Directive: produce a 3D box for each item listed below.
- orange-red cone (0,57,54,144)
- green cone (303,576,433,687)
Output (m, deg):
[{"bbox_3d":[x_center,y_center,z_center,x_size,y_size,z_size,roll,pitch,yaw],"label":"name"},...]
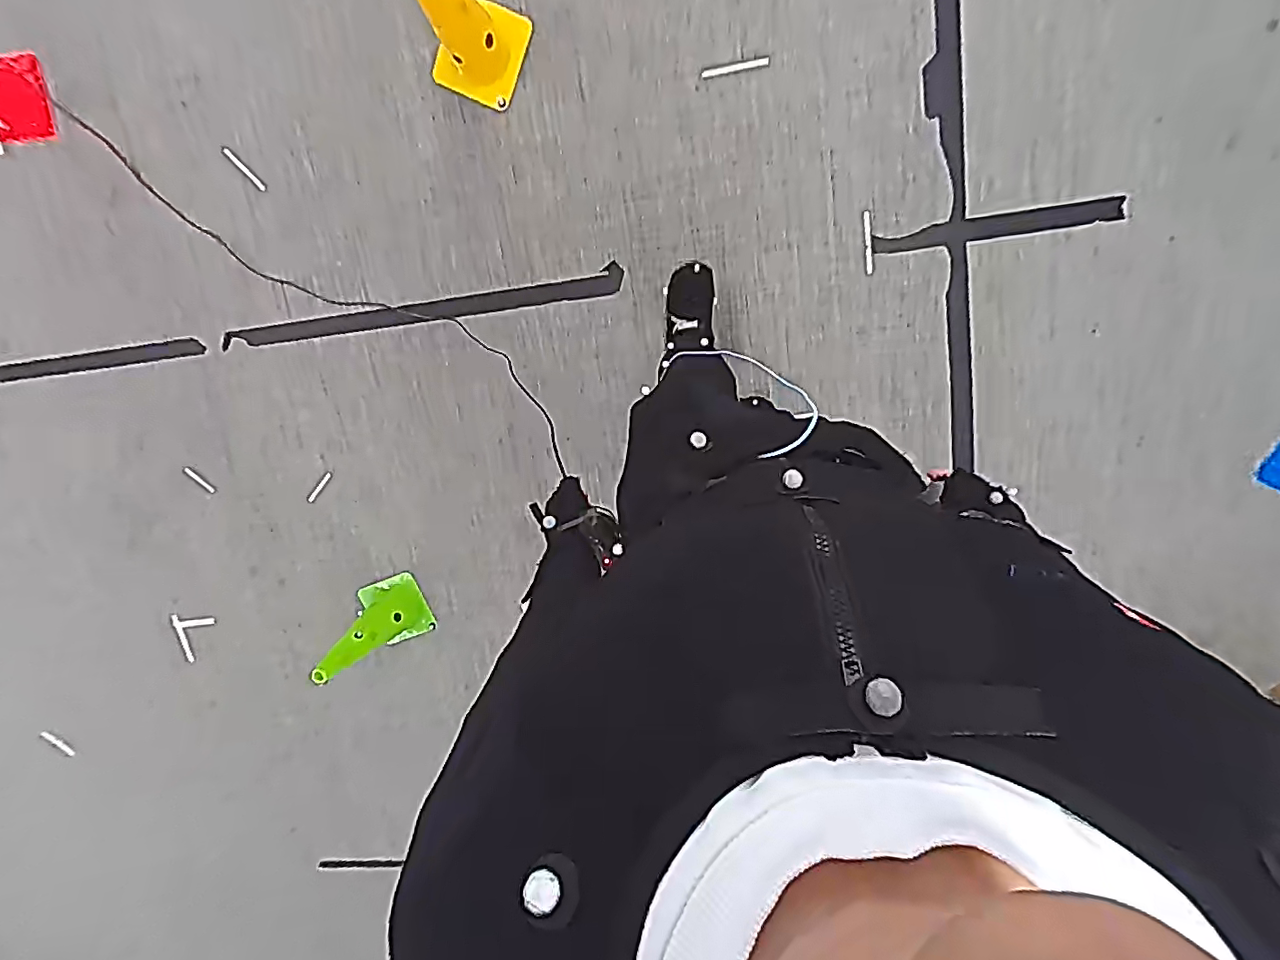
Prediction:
[{"bbox_3d":[-1.681,-0.966,1.272,0.199,0.360,0.198,1,104,6],"label":"orange-red cone"},{"bbox_3d":[-0.776,0.443,1.491,0.202,0.368,0.200,-22,99,13],"label":"green cone"}]
